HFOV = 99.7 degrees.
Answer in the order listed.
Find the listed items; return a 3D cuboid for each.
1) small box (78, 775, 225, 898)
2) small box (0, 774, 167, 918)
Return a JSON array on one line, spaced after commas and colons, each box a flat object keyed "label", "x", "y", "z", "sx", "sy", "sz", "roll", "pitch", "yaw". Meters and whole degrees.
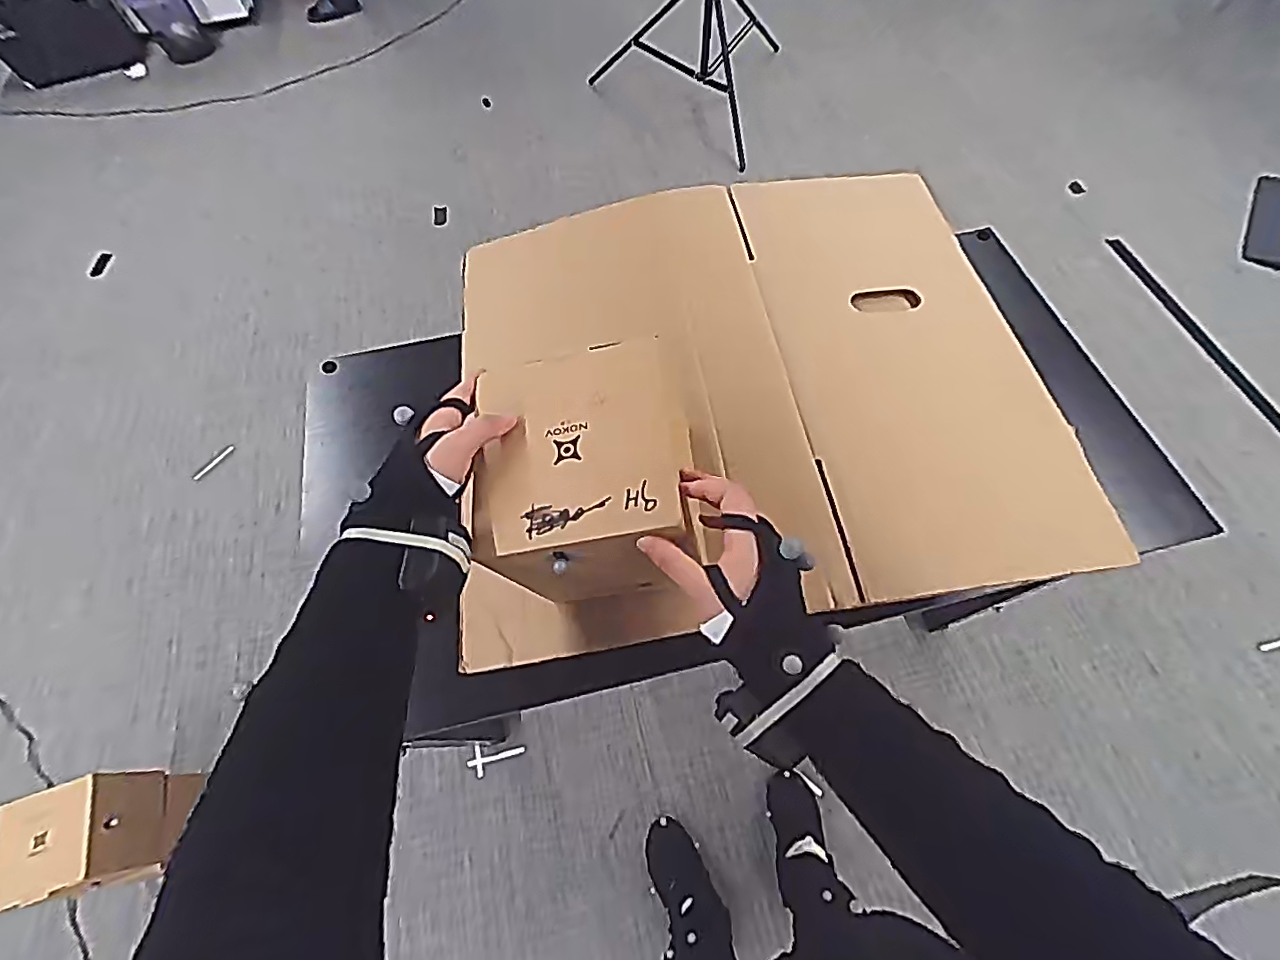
[{"label": "small box", "x": -1.040, "y": 0.756, "z": 1.169, "sx": 0.168, "sy": 0.176, "sz": 0.179, "roll": -16, "pitch": 65, "yaw": -6}, {"label": "small box", "x": -1.049, "y": 0.680, "z": 1.026, "sx": 0.168, "sy": 0.176, "sz": 0.179, "roll": -19, "pitch": 63, "yaw": -8}]
